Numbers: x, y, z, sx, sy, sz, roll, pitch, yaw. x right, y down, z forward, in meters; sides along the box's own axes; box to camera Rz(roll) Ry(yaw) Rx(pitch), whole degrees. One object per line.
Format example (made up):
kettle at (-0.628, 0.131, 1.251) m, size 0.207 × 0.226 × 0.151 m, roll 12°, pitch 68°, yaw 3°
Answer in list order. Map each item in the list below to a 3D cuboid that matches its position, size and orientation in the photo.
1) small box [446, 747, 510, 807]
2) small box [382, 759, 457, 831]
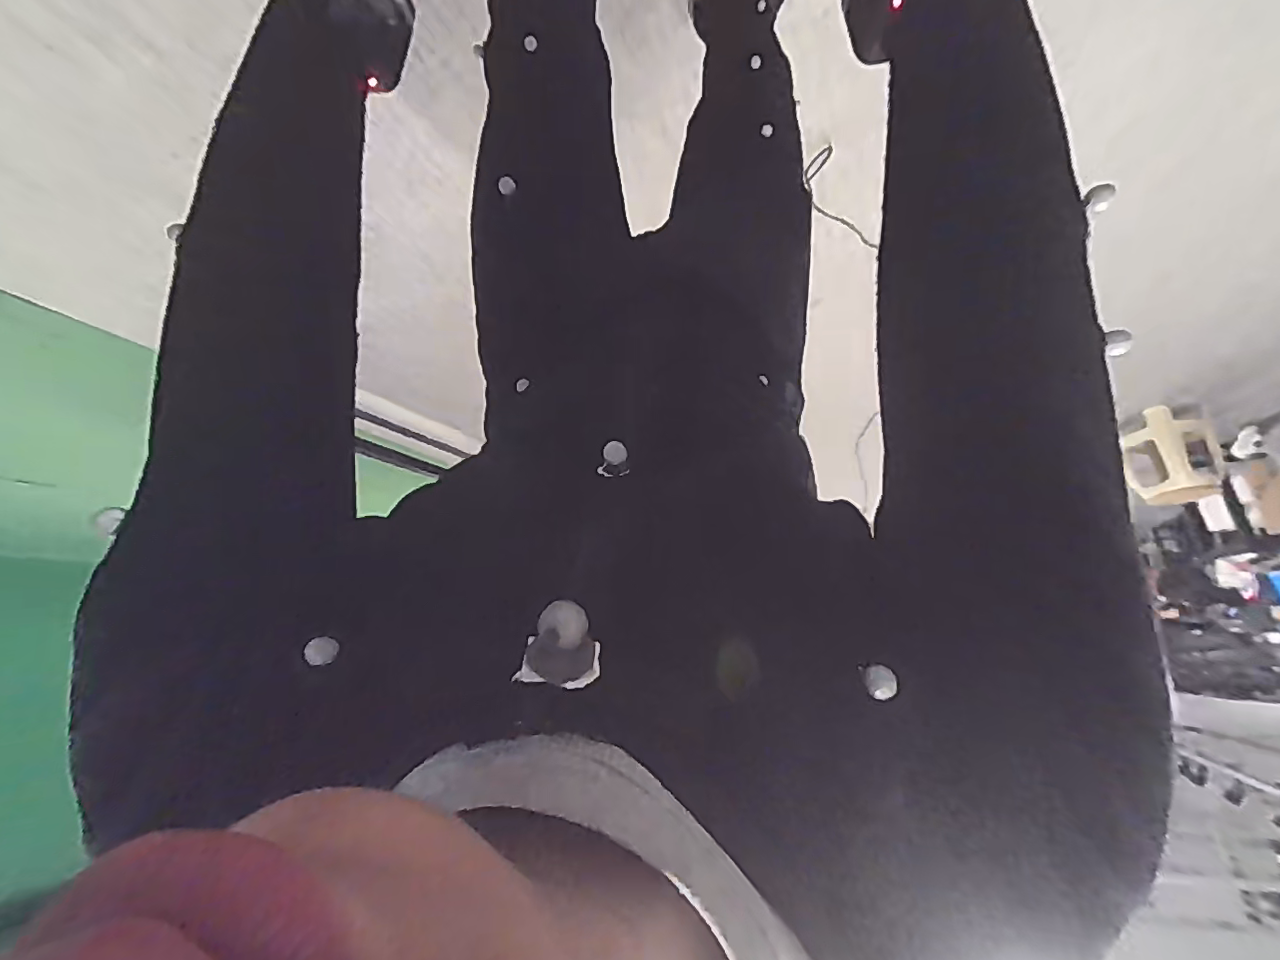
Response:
small box at (-0.610, 1.110, 2.026) m, size 0.168 × 0.176 × 0.179 m, roll -17°, pitch 158°, yaw 20°
small box at (-0.738, 1.050, 1.810) m, size 0.168 × 0.176 × 0.179 m, roll -17°, pitch 159°, yaw 20°
